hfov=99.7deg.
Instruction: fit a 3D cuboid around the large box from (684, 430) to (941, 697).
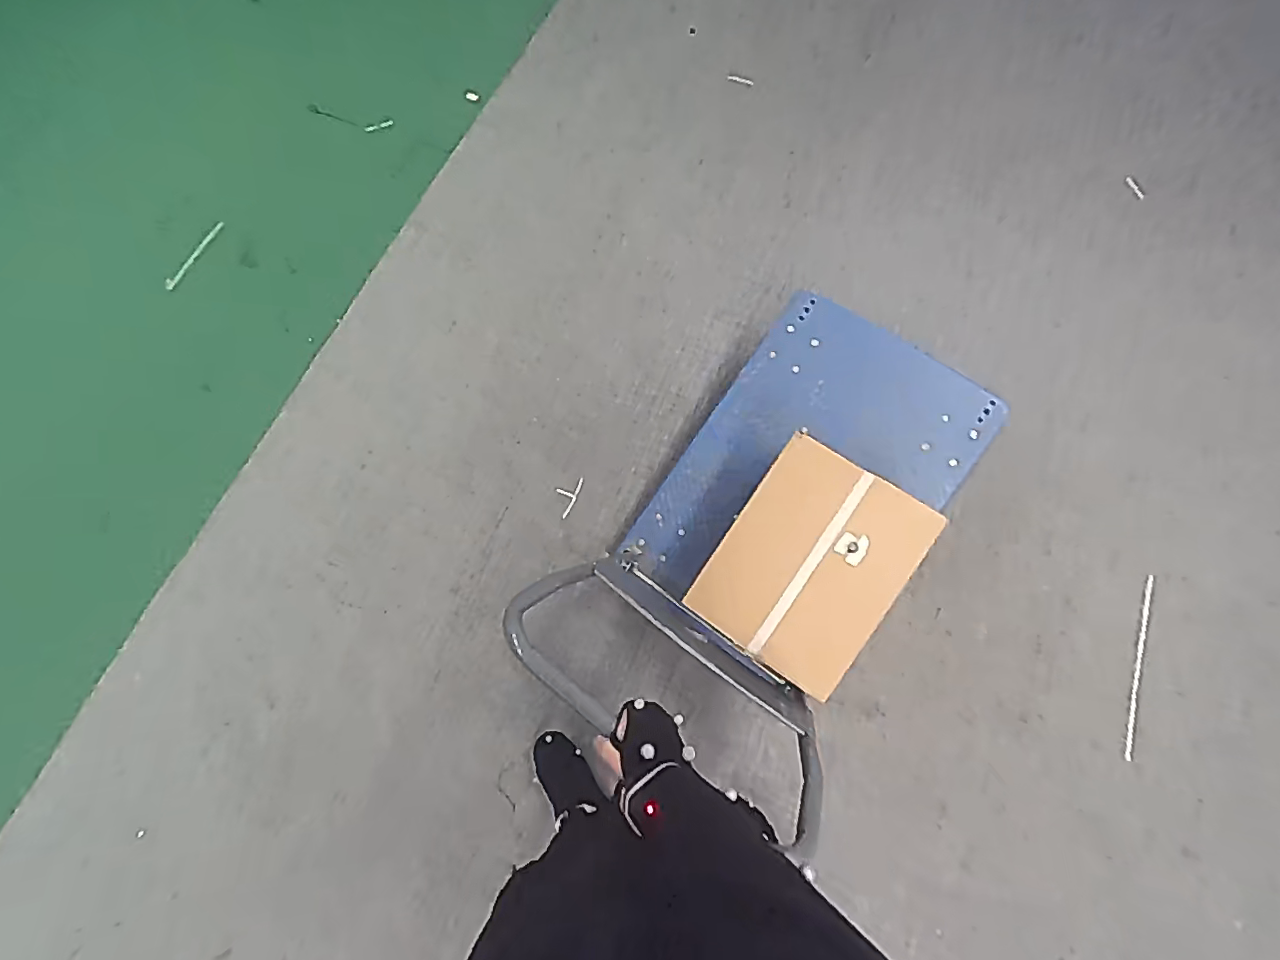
[{"bbox_3d":[0.341,0.169,1.149,0.320,0.320,0.408,35,91,13],"label":"large box"}]
